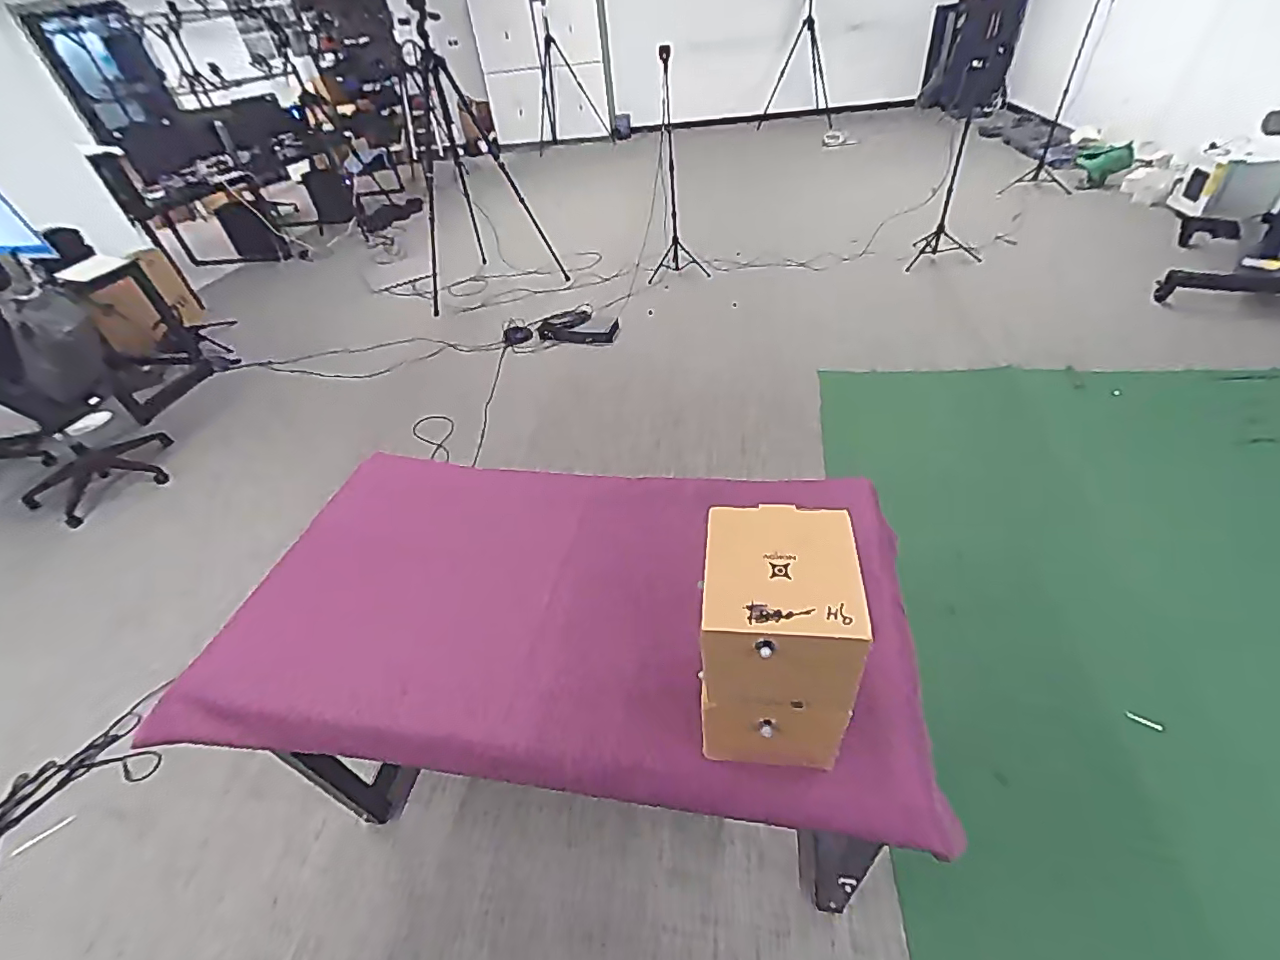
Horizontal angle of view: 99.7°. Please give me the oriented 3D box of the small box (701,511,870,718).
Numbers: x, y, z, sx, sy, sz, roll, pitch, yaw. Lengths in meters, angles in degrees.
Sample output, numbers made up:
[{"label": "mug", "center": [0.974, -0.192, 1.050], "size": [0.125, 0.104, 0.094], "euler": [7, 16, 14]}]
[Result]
[{"label": "small box", "center": [0.165, 0.156, 0.645], "size": [0.168, 0.176, 0.179], "euler": [-1, 42, 12]}]

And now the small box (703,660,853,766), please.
[{"label": "small box", "center": [0.184, 0.279, 0.751], "size": [0.179, 0.176, 0.168], "euler": [-1, 42, 11]}]
